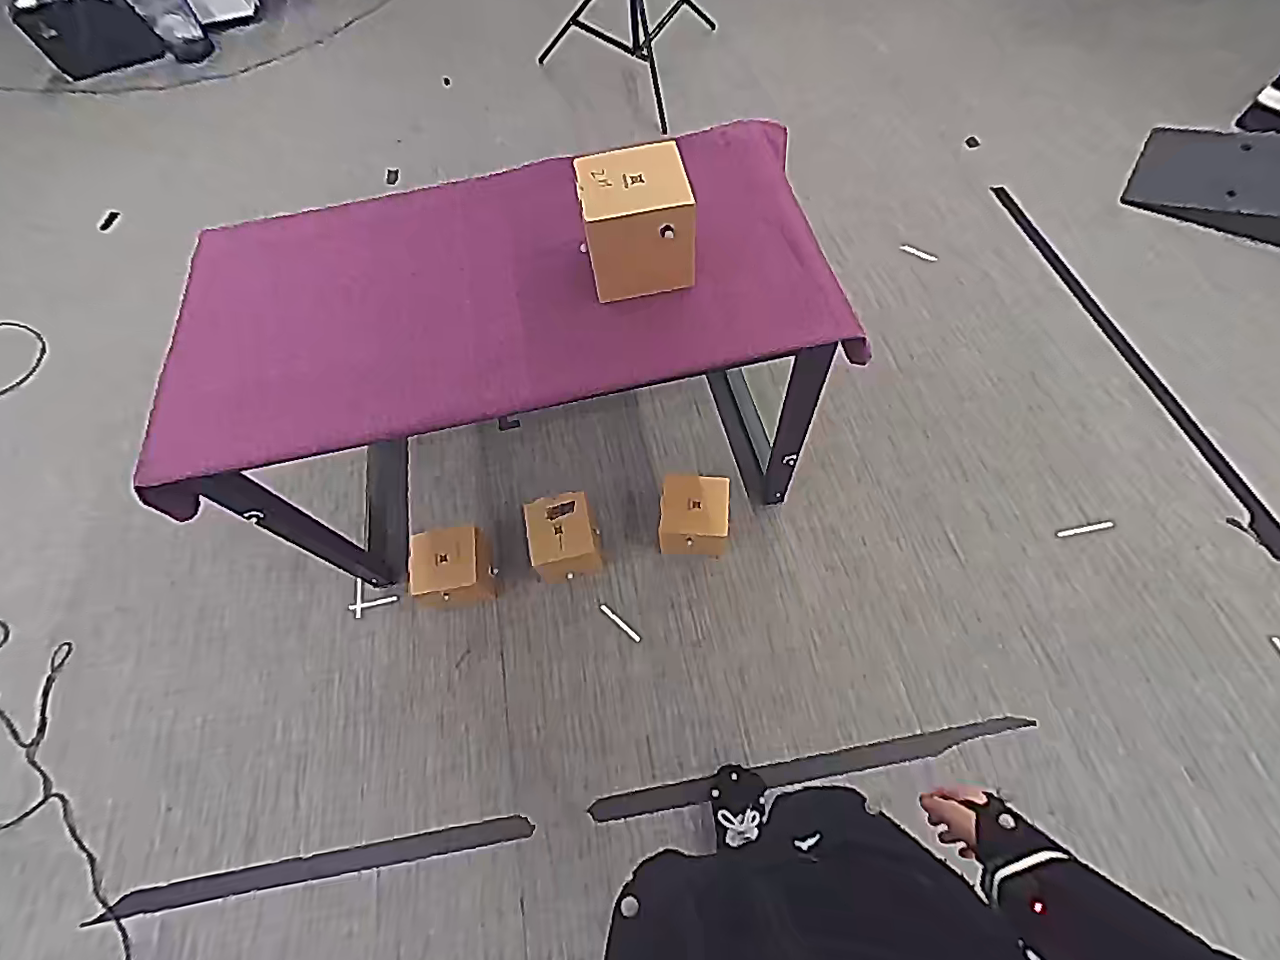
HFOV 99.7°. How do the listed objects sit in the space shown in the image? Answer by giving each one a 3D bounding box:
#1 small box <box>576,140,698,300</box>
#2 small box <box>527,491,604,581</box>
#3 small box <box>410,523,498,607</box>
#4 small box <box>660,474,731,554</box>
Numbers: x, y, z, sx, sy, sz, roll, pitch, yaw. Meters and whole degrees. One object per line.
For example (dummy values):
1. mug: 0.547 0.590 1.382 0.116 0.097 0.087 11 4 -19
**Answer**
1. small box: -0.003 -0.438 0.927 0.179 0.176 0.168 -11 62 1
2. small box: -0.200 0.155 1.468 0.168 0.176 0.179 -13 64 -1
3. small box: -0.496 0.234 1.458 0.179 0.176 0.168 -9 64 0
4. small box: 0.151 0.096 1.466 0.179 0.176 0.168 3 65 8
